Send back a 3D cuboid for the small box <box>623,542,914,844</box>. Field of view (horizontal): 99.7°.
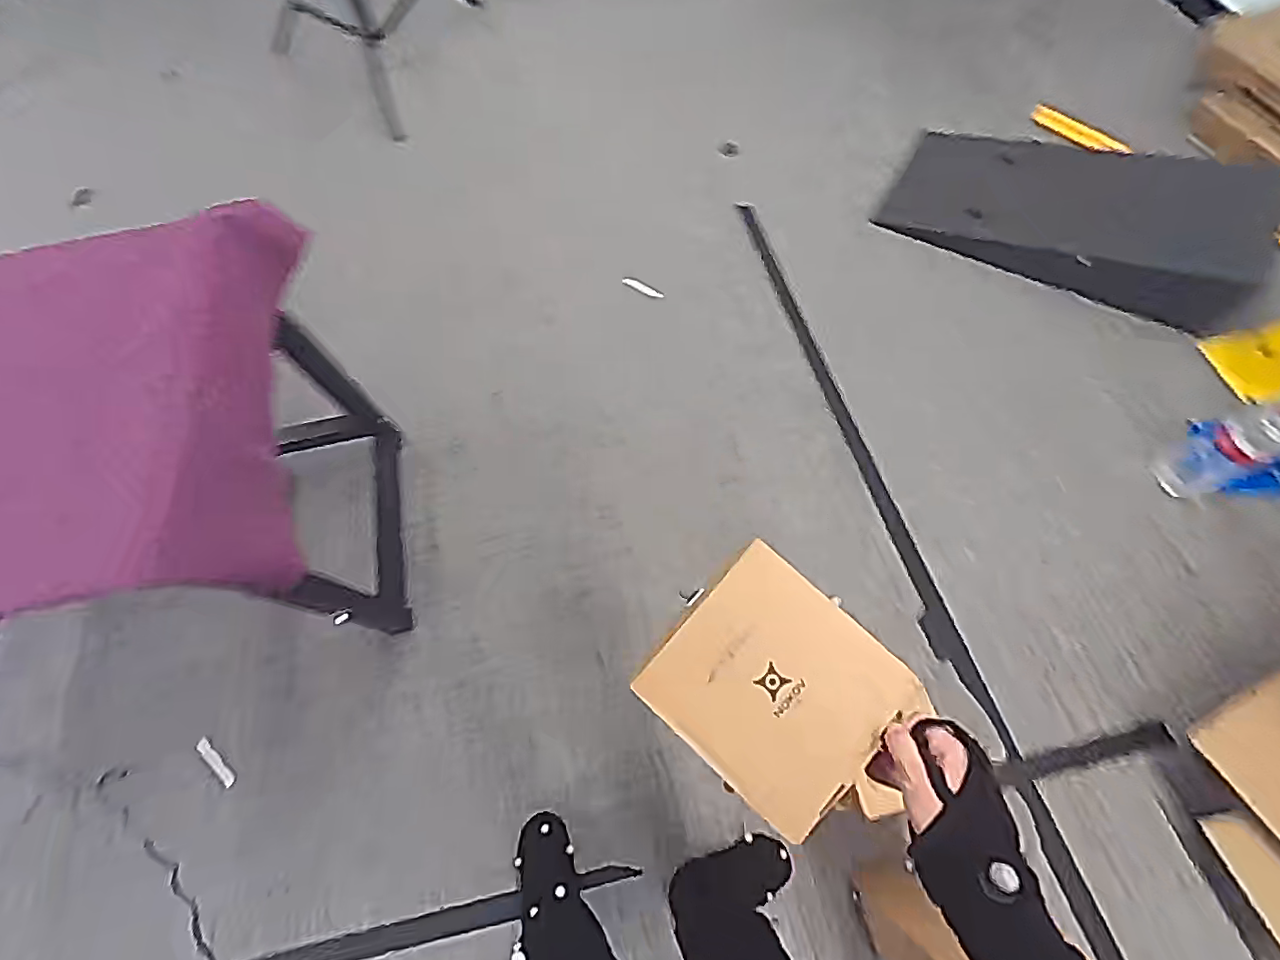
[{"bbox_3d":[0.104,0.179,0.509,0.179,0.176,0.168,40,81,9],"label":"small box"}]

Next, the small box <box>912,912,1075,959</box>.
[{"bbox_3d":[0.478,0.693,0.684,0.168,0.176,0.179,-9,68,0],"label":"small box"}]

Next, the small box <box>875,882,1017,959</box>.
[{"bbox_3d":[0.492,0.754,0.835,0.168,0.176,0.179,-12,68,-1],"label":"small box"}]

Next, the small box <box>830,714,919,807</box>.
[{"bbox_3d":[0.426,0.543,1.107,0.168,0.176,0.179,-13,68,-2],"label":"small box"}]

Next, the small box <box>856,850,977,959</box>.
[{"bbox_3d":[0.518,0.809,0.989,0.179,0.176,0.168,-14,68,-3],"label":"small box"}]
